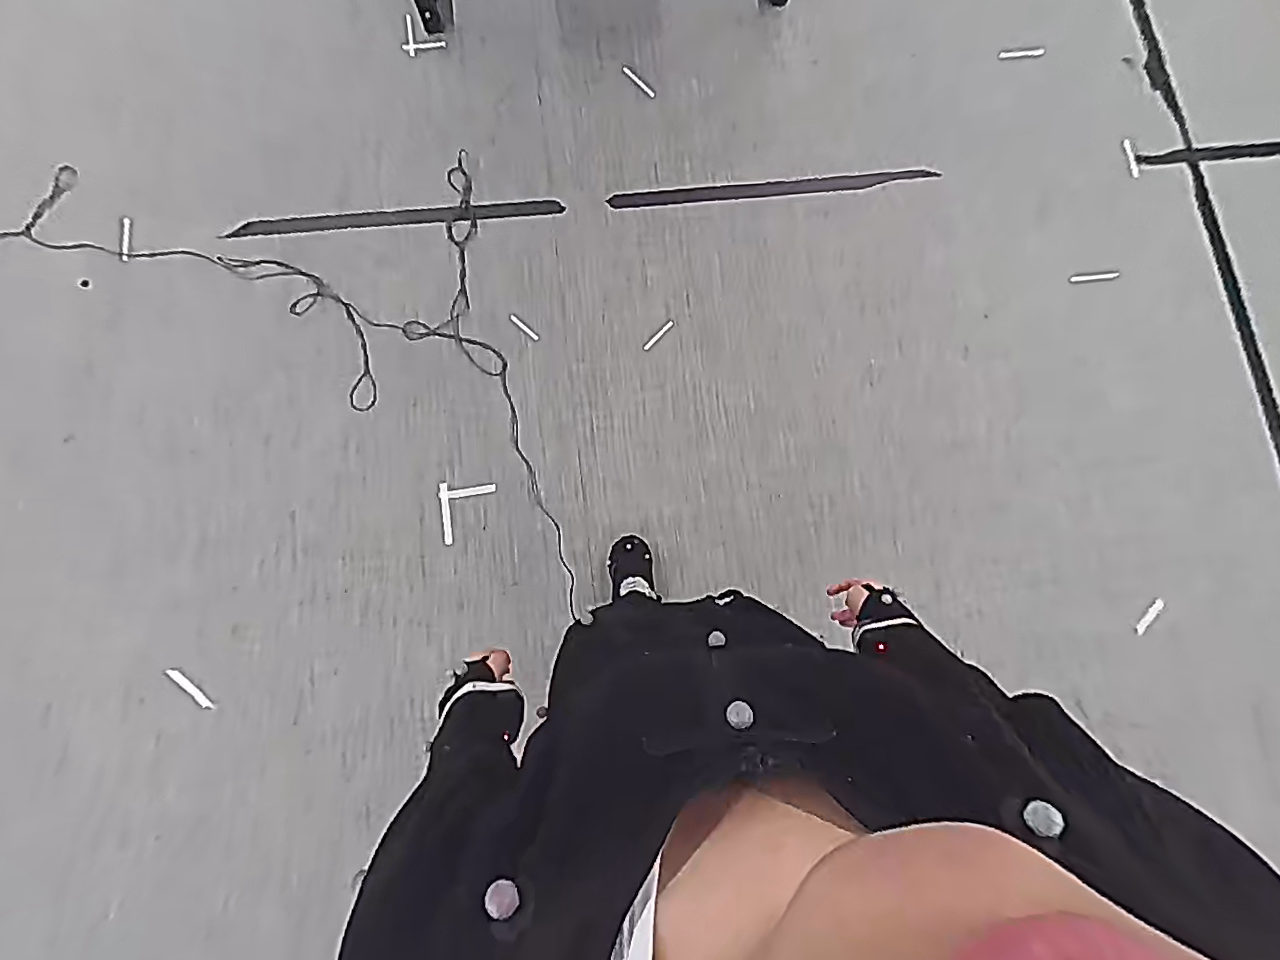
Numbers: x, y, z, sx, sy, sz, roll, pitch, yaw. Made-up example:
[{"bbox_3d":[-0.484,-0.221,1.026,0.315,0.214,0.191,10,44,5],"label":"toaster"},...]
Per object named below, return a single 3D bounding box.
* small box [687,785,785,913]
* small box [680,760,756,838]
[{"bbox_3d":[0.197,0.788,1.170,0.179,0.176,0.168,-6,82,-2],"label":"small box"},{"bbox_3d":[0.195,0.810,1.336,0.168,0.176,0.179,-5,81,-2],"label":"small box"}]
